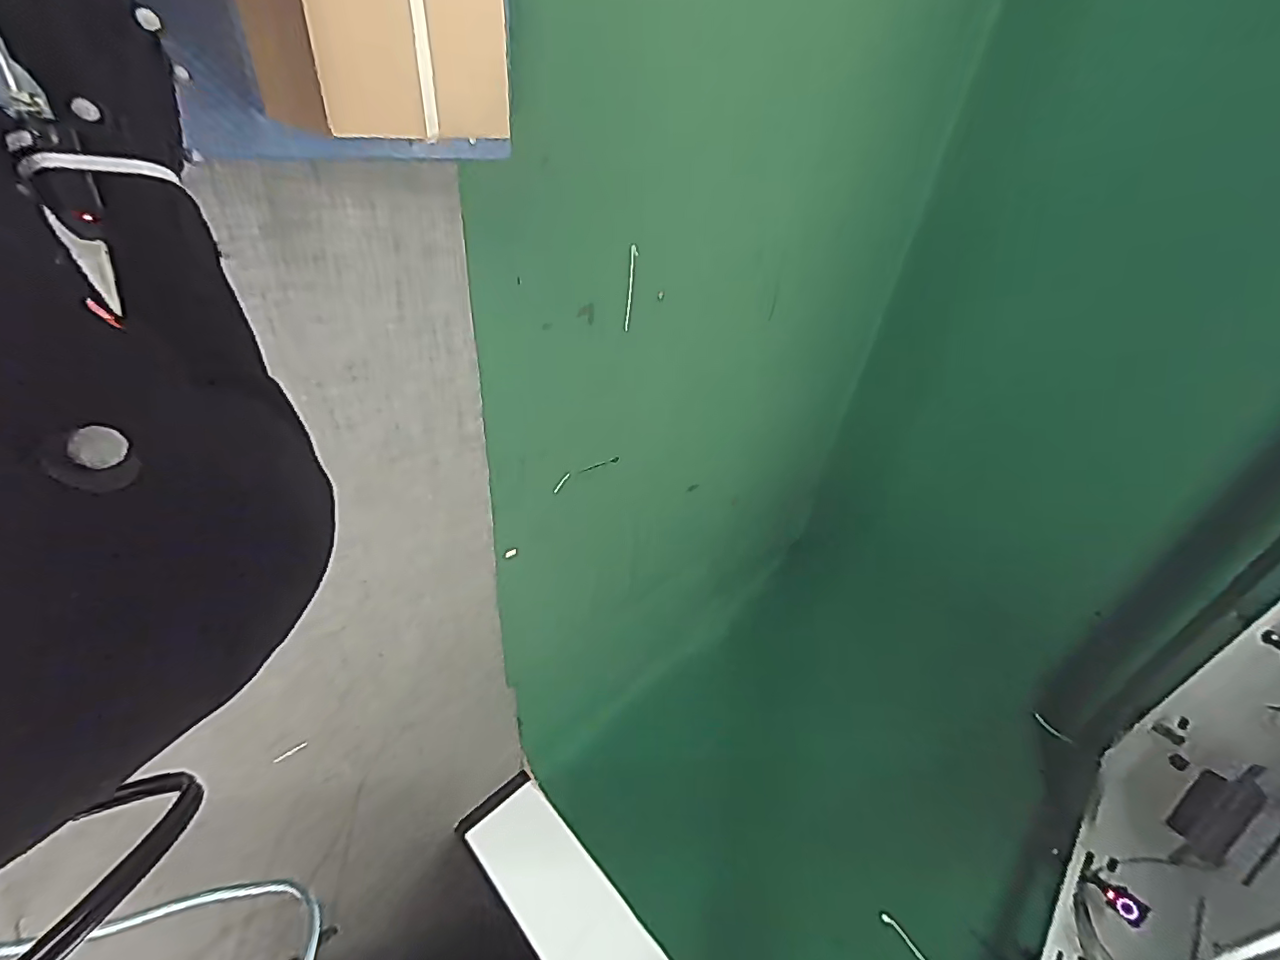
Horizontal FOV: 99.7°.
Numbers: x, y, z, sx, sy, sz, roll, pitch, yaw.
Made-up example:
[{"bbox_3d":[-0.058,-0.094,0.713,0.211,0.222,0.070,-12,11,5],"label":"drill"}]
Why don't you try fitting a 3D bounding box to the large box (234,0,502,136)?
[{"bbox_3d":[-0.452,-0.800,0.863,0.320,0.320,0.408,-28,137,-37],"label":"large box"}]
